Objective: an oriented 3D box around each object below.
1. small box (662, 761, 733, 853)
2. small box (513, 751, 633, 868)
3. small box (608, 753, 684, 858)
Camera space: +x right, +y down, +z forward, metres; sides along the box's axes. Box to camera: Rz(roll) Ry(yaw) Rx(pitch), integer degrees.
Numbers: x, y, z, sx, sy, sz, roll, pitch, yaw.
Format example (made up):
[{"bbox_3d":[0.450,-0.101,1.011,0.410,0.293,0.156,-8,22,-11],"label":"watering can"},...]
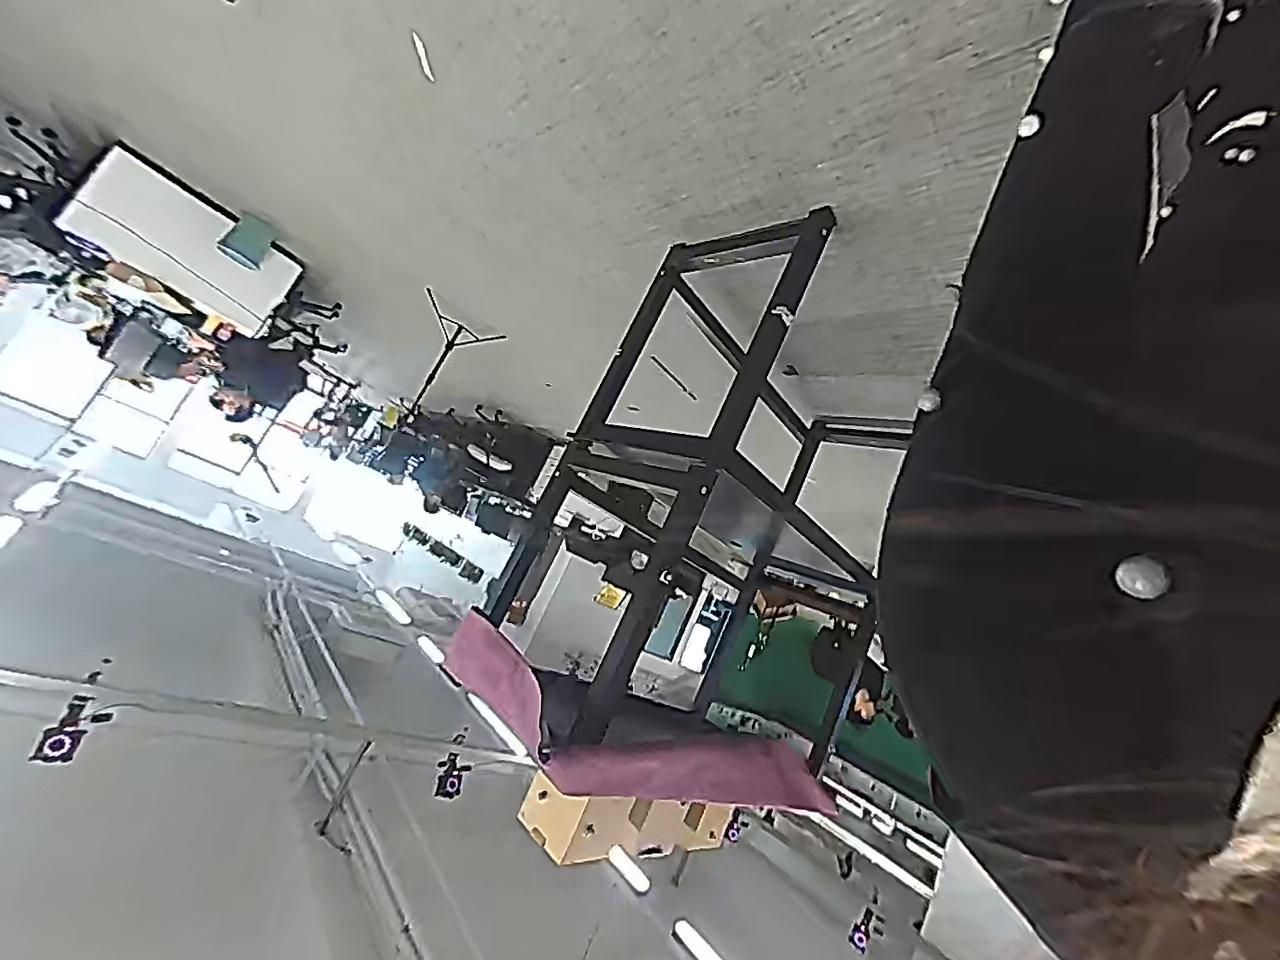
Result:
[{"bbox_3d":[0.146,0.955,1.593,0.168,0.176,0.179,15,165,44],"label":"small box"},{"bbox_3d":[-0.148,0.742,1.237,0.168,0.176,0.179,17,167,43],"label":"small box"},{"bbox_3d":[-0.006,0.846,1.416,0.179,0.176,0.168,15,165,47],"label":"small box"}]
